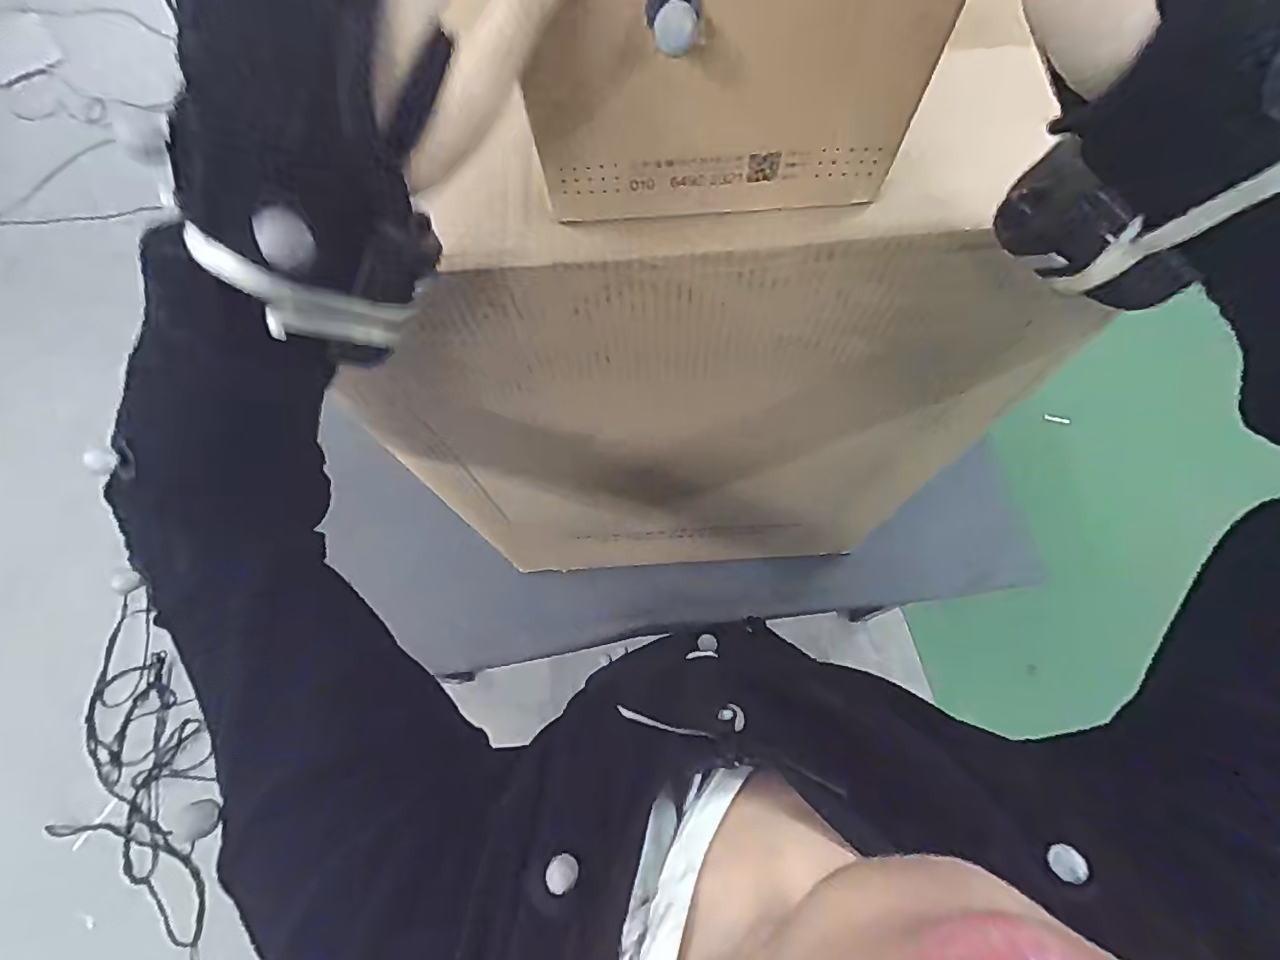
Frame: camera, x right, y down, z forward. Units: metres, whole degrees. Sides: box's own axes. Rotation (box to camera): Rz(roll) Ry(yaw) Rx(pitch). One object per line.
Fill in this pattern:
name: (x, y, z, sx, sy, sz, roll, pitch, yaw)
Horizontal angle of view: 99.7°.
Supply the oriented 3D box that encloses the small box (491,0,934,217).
small box: (0.027, -0.239, 0.235, 0.168, 0.176, 0.179, -3, 69, 2)
